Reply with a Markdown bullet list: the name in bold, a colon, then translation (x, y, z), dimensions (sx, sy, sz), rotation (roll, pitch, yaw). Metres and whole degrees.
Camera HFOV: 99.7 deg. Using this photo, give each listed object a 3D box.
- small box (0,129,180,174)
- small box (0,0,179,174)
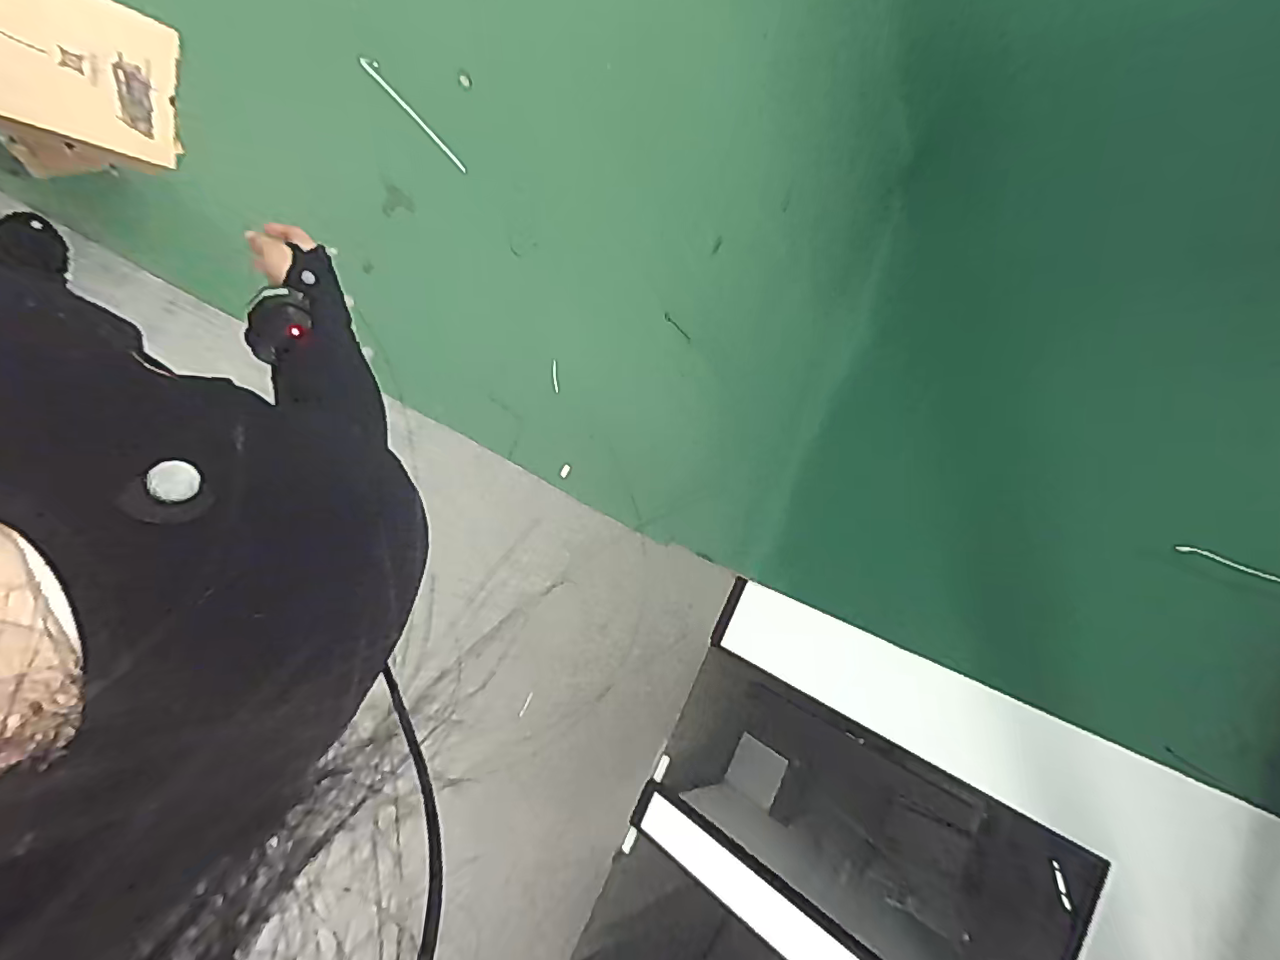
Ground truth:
- **small box**: translation (-0.832, -0.552, 0.786), dimensions (0.179, 0.176, 0.168), rotation (-38, 135, -35)
- **small box**: translation (-0.714, -0.507, 0.680), dimensions (0.179, 0.176, 0.168), rotation (-2, 110, -50)
